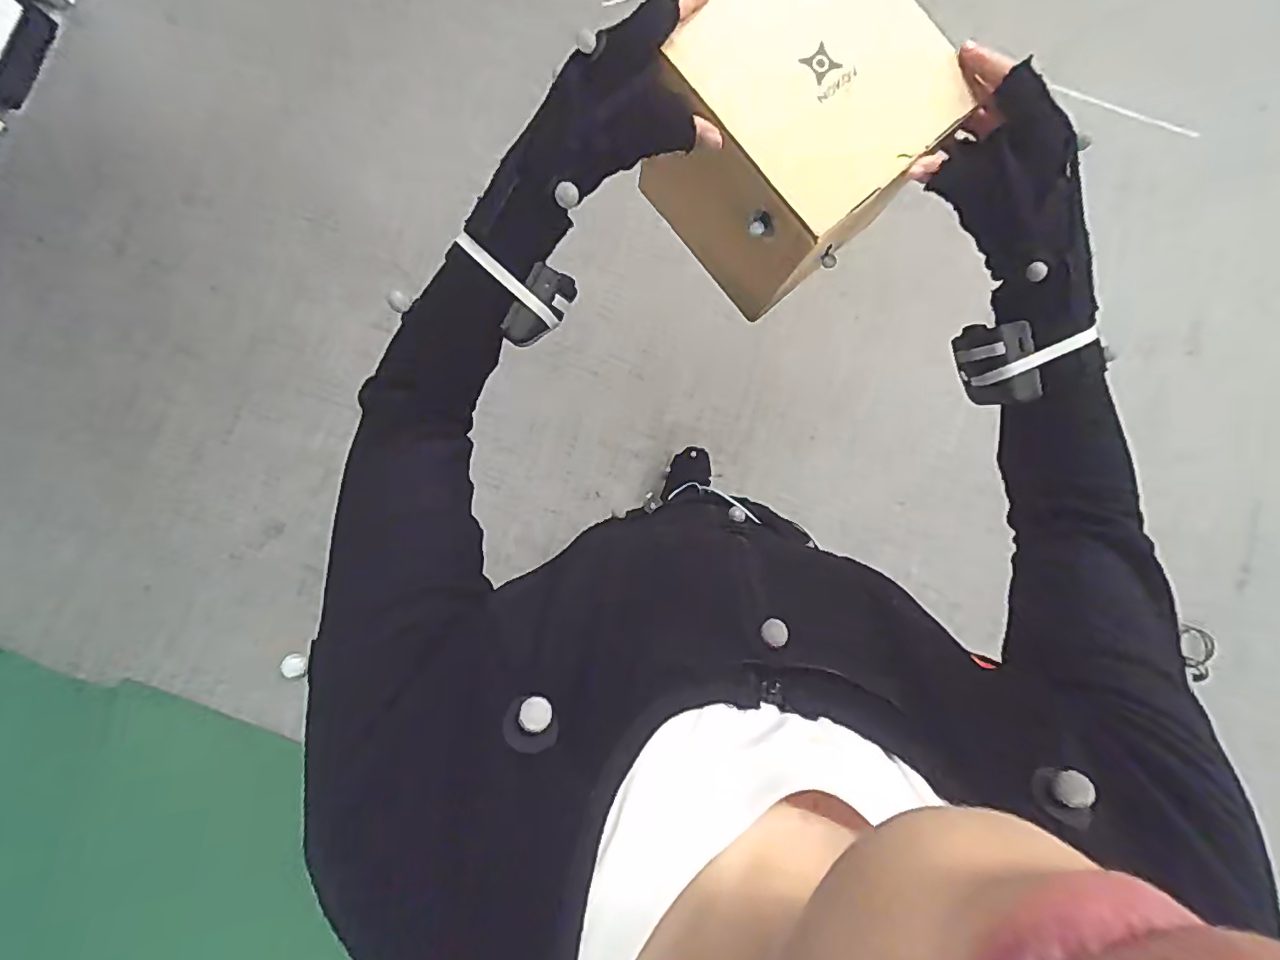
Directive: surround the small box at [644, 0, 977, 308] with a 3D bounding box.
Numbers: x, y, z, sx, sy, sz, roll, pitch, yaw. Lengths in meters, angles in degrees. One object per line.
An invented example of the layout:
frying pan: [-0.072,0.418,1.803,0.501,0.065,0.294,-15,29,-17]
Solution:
small box: [0.119,-0.281,0.457,0.168,0.176,0.179,-40,92,-5]
